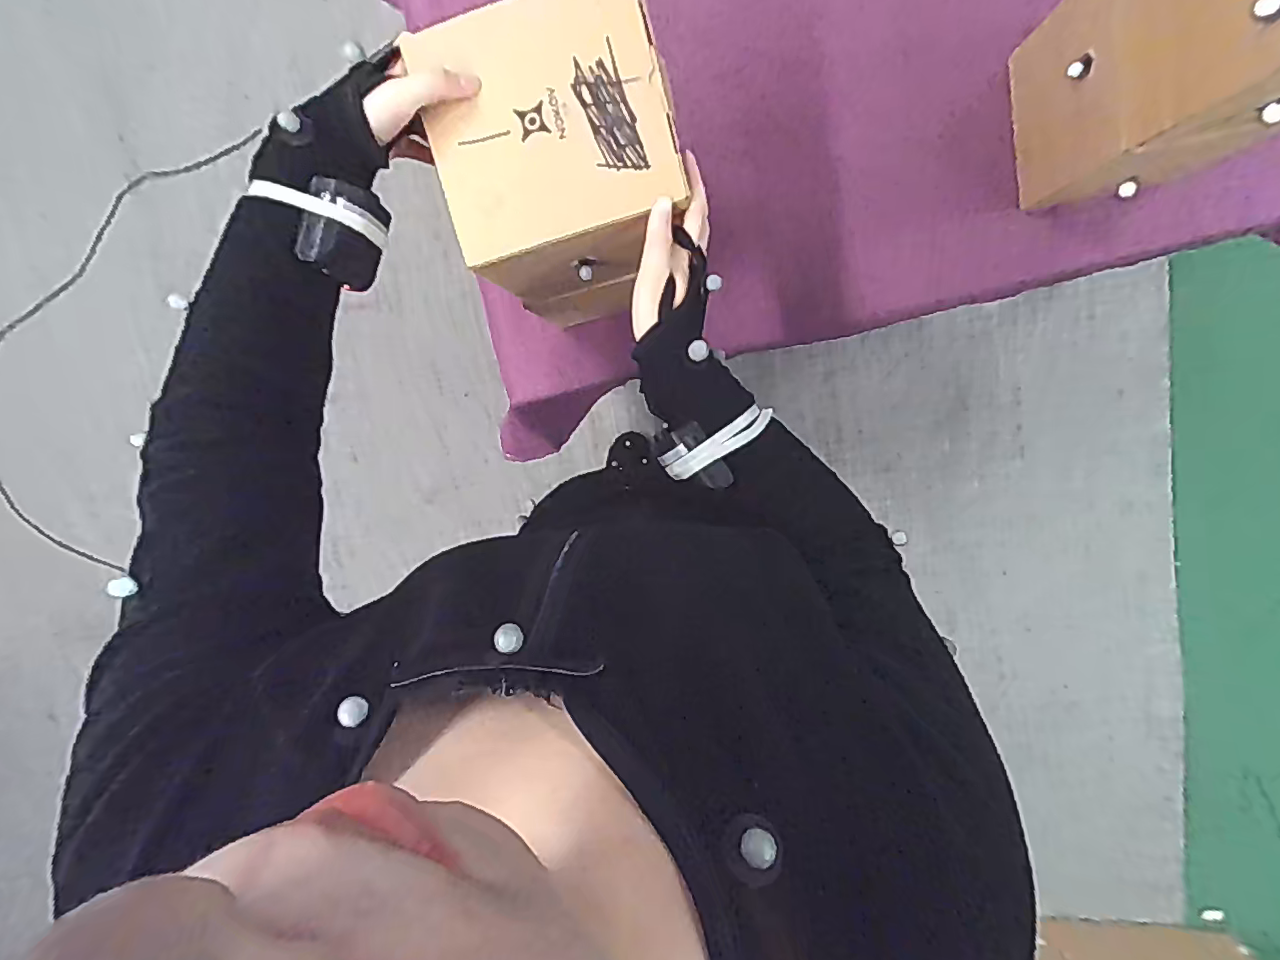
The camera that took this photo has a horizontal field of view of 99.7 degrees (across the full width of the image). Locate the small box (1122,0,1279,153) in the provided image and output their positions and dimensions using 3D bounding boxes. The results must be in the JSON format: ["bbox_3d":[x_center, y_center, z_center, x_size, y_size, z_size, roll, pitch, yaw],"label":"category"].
[{"bbox_3d":[0.500,-0.378,0.393,0.168,0.176,0.179,-9,99,7],"label":"small box"}]

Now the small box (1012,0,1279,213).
[{"bbox_3d":[0.514,-0.404,0.554,0.168,0.176,0.179,-9,99,8],"label":"small box"}]
